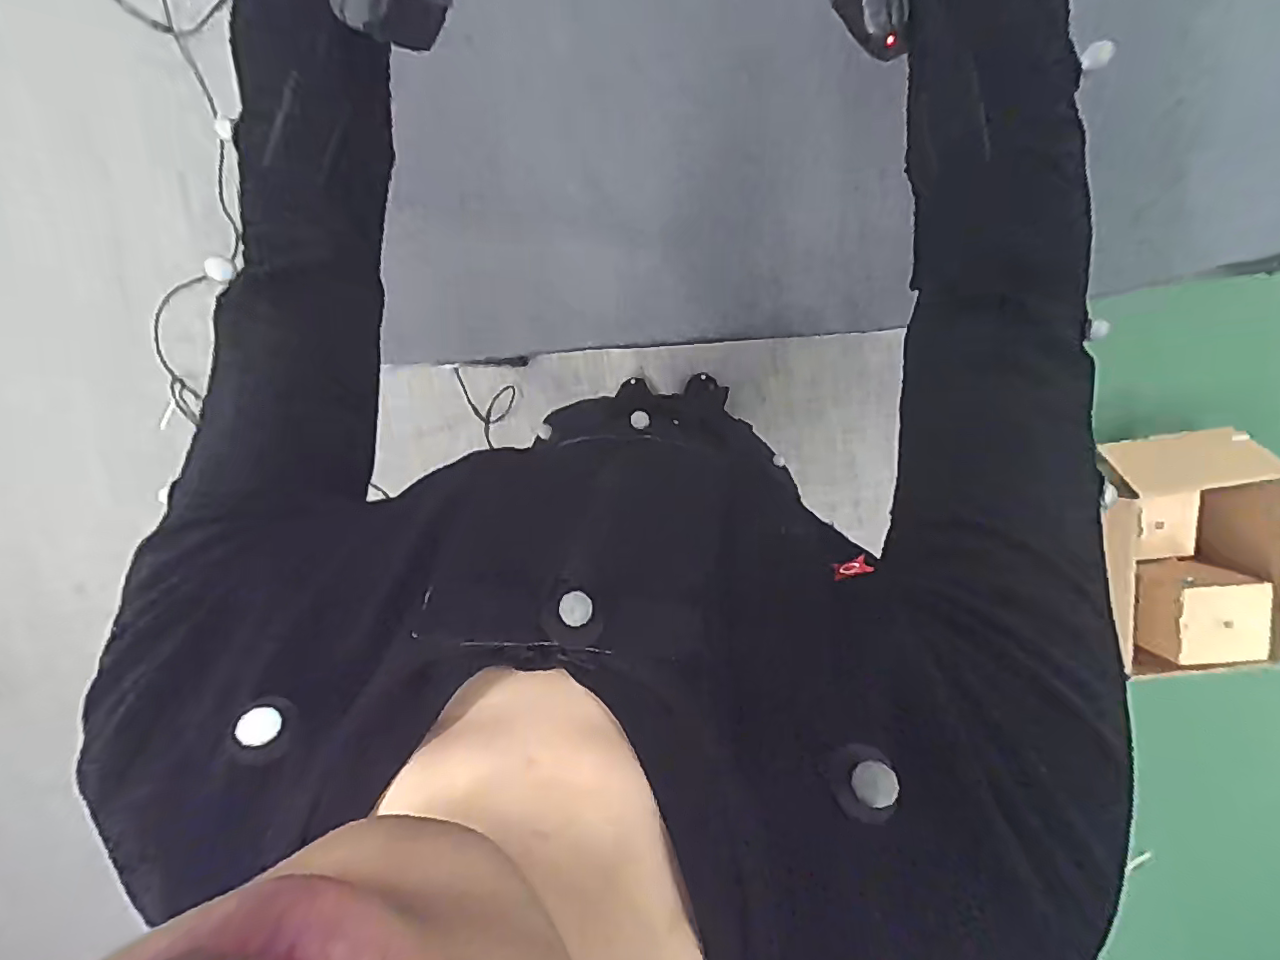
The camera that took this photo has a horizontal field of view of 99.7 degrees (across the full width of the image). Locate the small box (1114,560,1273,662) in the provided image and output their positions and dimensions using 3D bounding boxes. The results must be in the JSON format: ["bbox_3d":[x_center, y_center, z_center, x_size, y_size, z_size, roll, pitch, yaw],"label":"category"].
[{"bbox_3d":[1.198,0.278,1.182,0.179,0.176,0.168,-5,97,3],"label":"small box"}]
